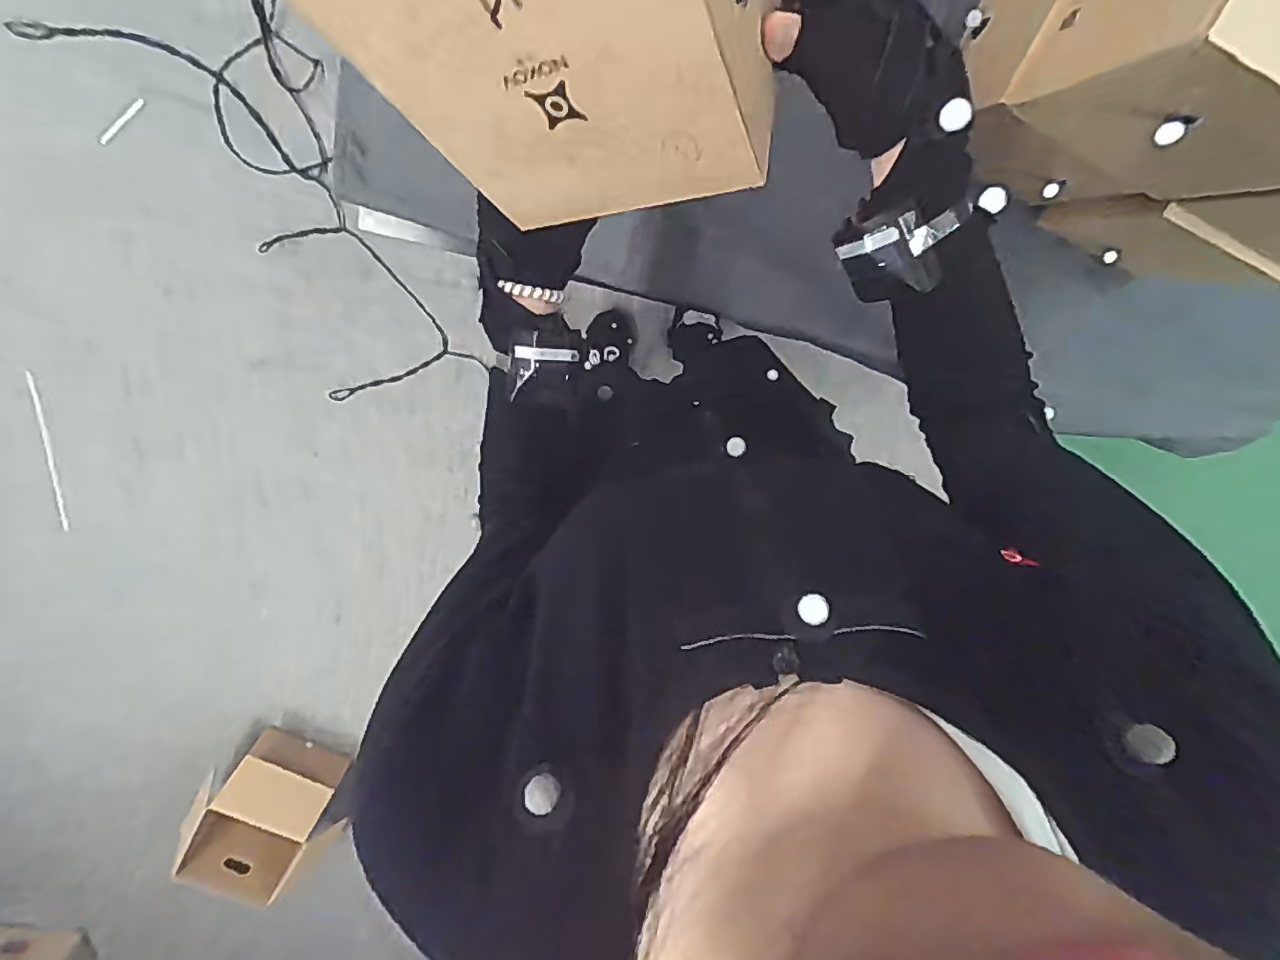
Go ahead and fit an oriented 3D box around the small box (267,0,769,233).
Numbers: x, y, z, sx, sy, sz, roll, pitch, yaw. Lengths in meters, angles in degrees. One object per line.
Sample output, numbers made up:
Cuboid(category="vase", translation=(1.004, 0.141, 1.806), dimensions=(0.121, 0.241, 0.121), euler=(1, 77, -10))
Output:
Cuboid(category="small box", translation=(-0.036, -0.258, 0.270), dimensions=(0.168, 0.179, 0.176), euler=(4, 81, 28))
